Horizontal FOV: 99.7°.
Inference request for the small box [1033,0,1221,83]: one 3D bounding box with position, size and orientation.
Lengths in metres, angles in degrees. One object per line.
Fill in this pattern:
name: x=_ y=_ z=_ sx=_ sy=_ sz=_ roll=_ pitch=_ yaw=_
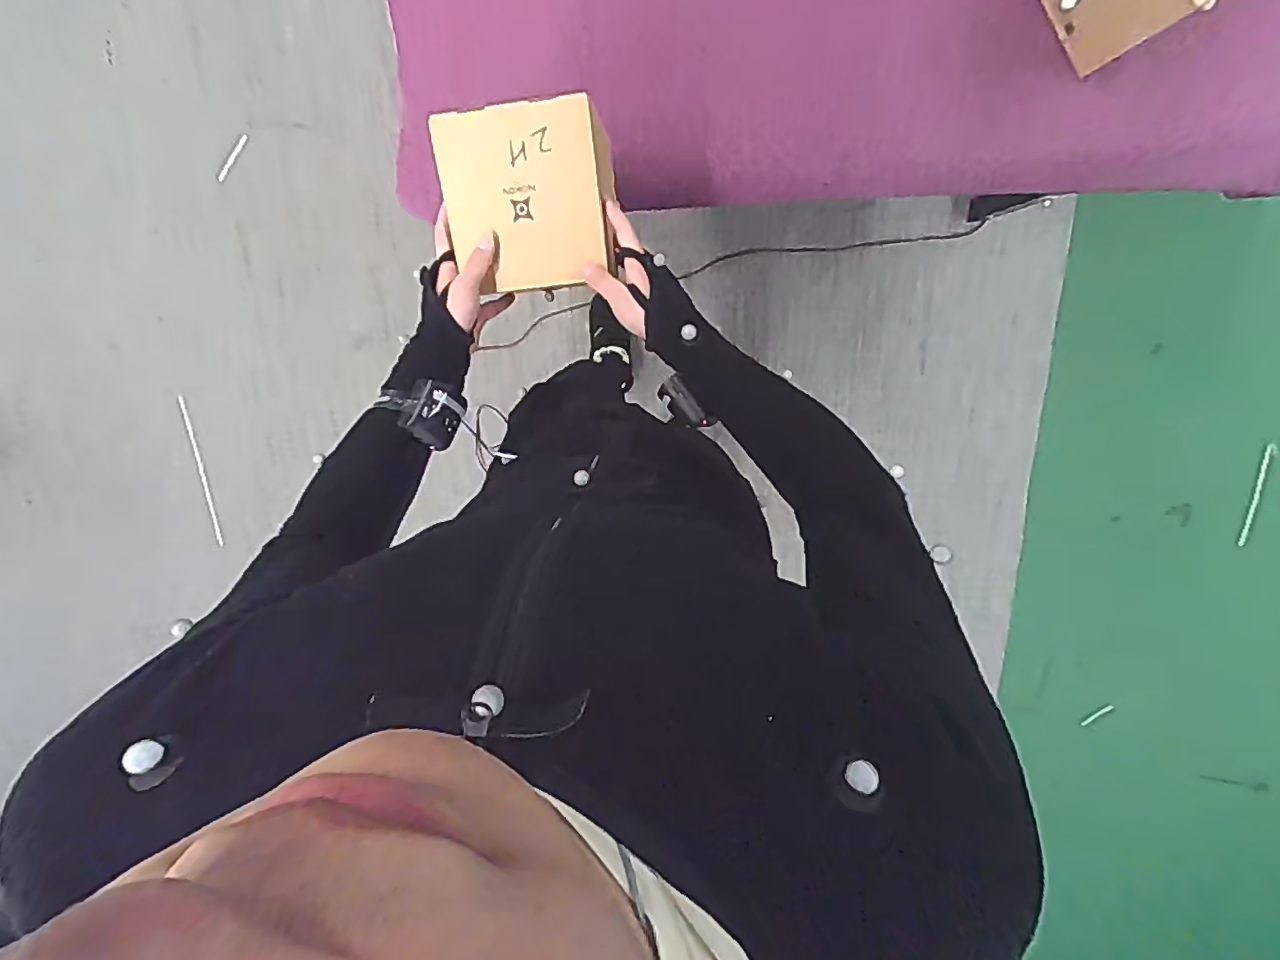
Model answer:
small box: x=0.596 y=-0.610 z=0.609 sx=0.179 sy=0.176 sz=0.168 roll=-35 pitch=101 yaw=11
